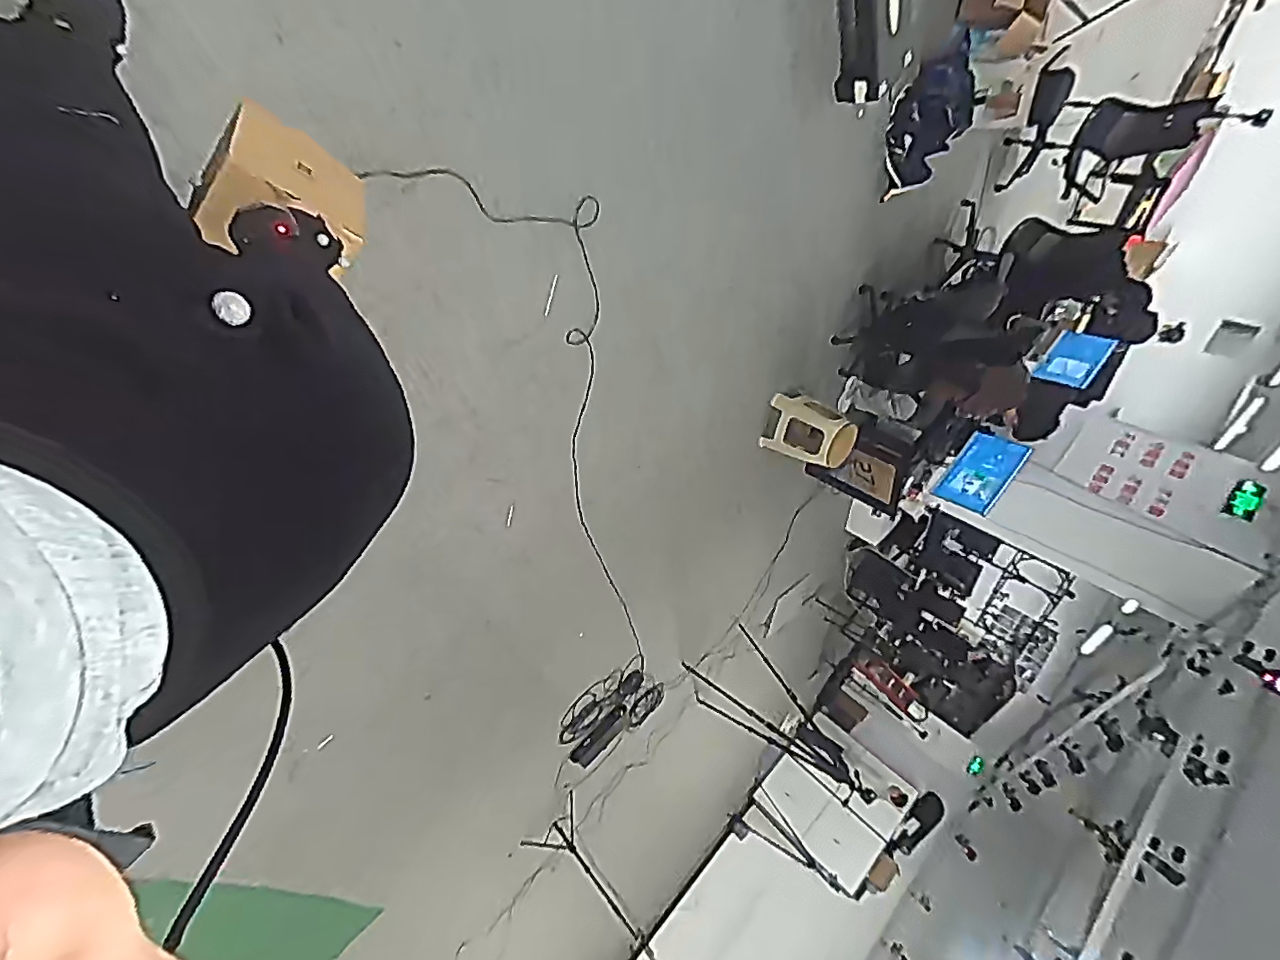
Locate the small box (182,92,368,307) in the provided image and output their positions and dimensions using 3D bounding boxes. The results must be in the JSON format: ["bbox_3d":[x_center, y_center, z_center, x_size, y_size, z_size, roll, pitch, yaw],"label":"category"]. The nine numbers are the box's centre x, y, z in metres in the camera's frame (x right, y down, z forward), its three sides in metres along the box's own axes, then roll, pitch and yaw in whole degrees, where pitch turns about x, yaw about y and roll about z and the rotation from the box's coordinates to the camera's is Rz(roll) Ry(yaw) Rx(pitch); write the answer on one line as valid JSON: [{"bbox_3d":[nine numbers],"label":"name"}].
[{"bbox_3d":[-0.509,-0.383,0.764,0.176,0.179,0.168,-37,144,23],"label":"small box"}]
